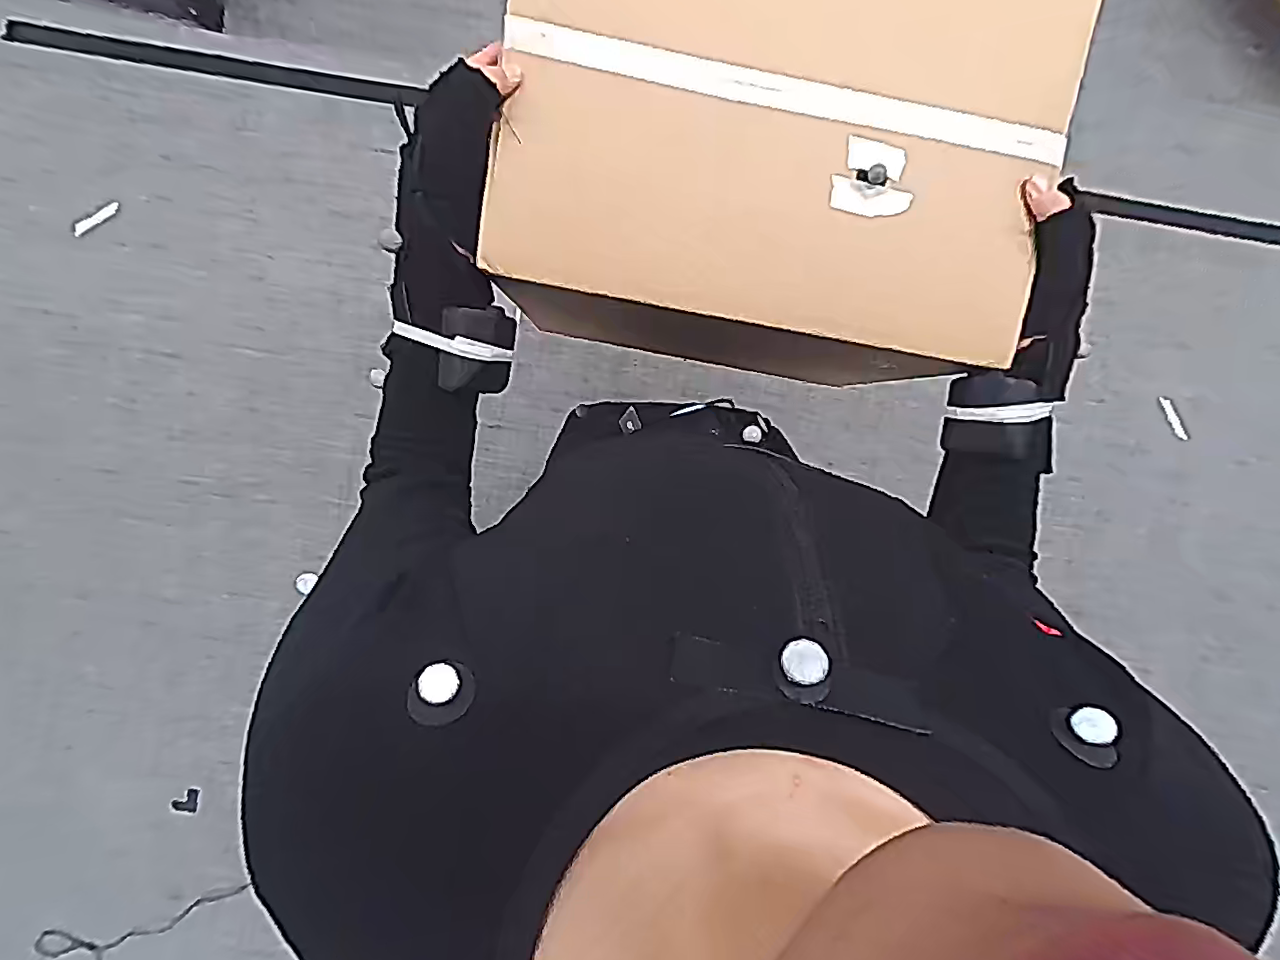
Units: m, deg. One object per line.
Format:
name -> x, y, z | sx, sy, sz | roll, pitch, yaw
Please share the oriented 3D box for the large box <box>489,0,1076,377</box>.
large box -> 0.095, -0.295, 0.540 | 0.408, 0.320, 0.320 | 9, 98, -5
